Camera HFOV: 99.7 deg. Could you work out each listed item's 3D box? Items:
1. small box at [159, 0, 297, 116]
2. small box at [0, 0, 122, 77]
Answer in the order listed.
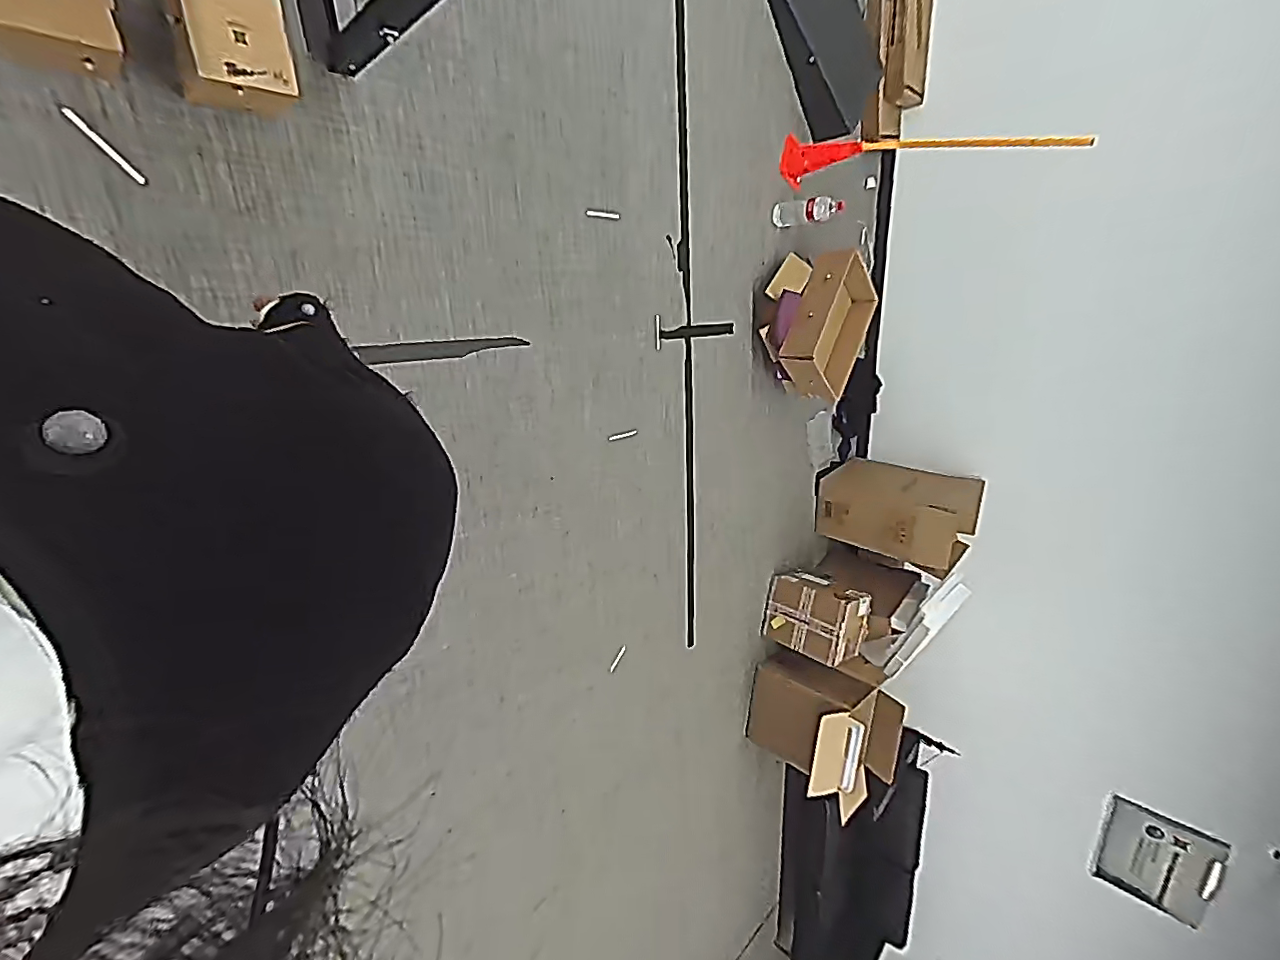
[{"bbox_3d":[-0.804,-0.848,1.055,0.168,0.176,0.179,-20,115,-42],"label":"small box"},{"bbox_3d":[-0.988,-0.788,0.877,0.179,0.176,0.168,-19,114,-42],"label":"small box"}]
